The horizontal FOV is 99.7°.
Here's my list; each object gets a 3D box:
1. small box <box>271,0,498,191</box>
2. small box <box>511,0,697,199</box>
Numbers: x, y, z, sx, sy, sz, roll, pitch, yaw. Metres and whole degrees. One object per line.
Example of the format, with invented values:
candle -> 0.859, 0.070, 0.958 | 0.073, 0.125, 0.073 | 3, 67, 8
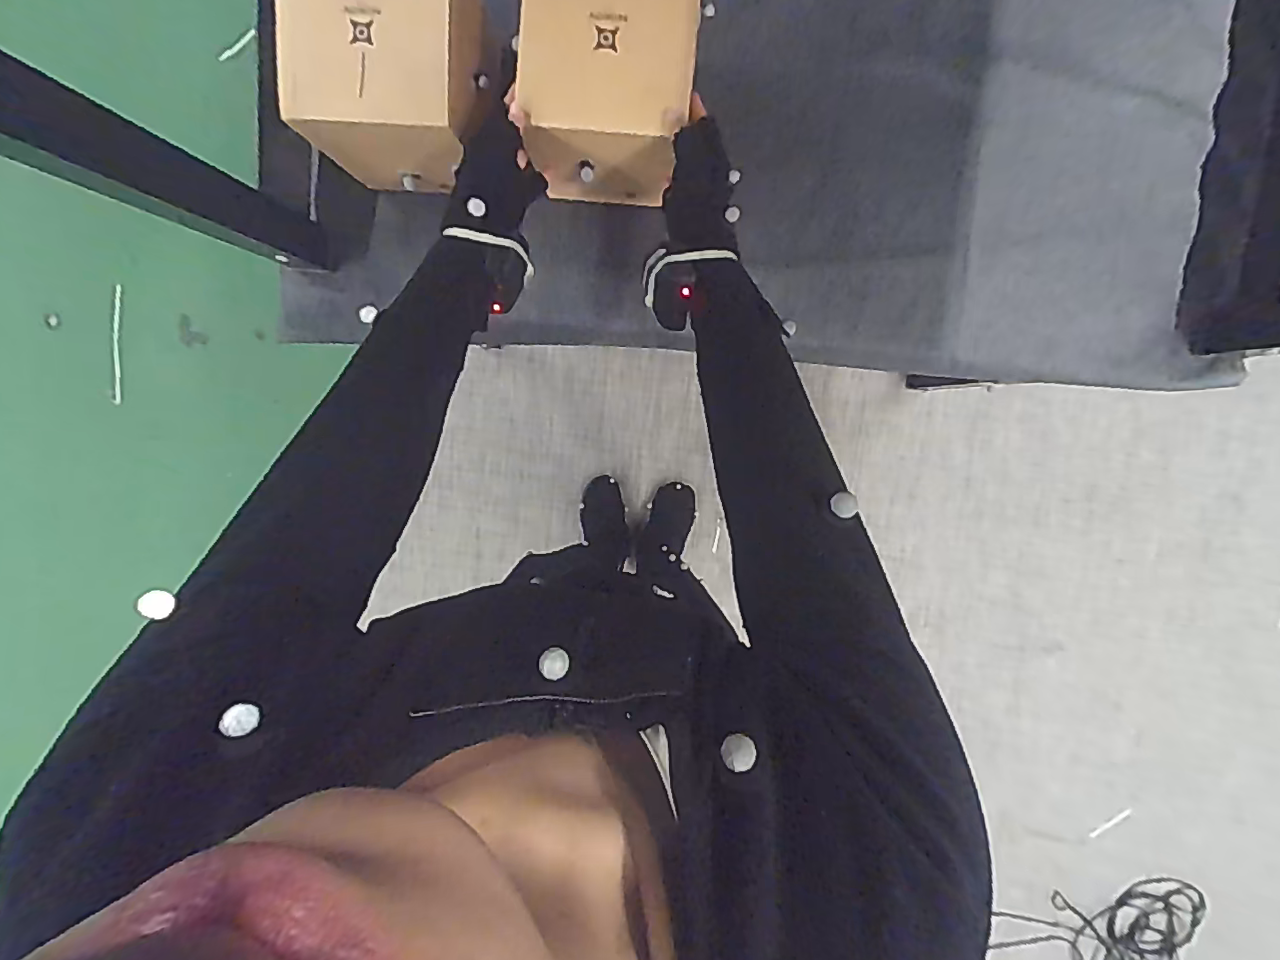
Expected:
small box -> -0.256, -0.438, 0.576 | 0.168, 0.176, 0.179 | 4, 98, 1
small box -> -0.029, -0.422, 0.572 | 0.168, 0.176, 0.179 | 5, 95, 1
